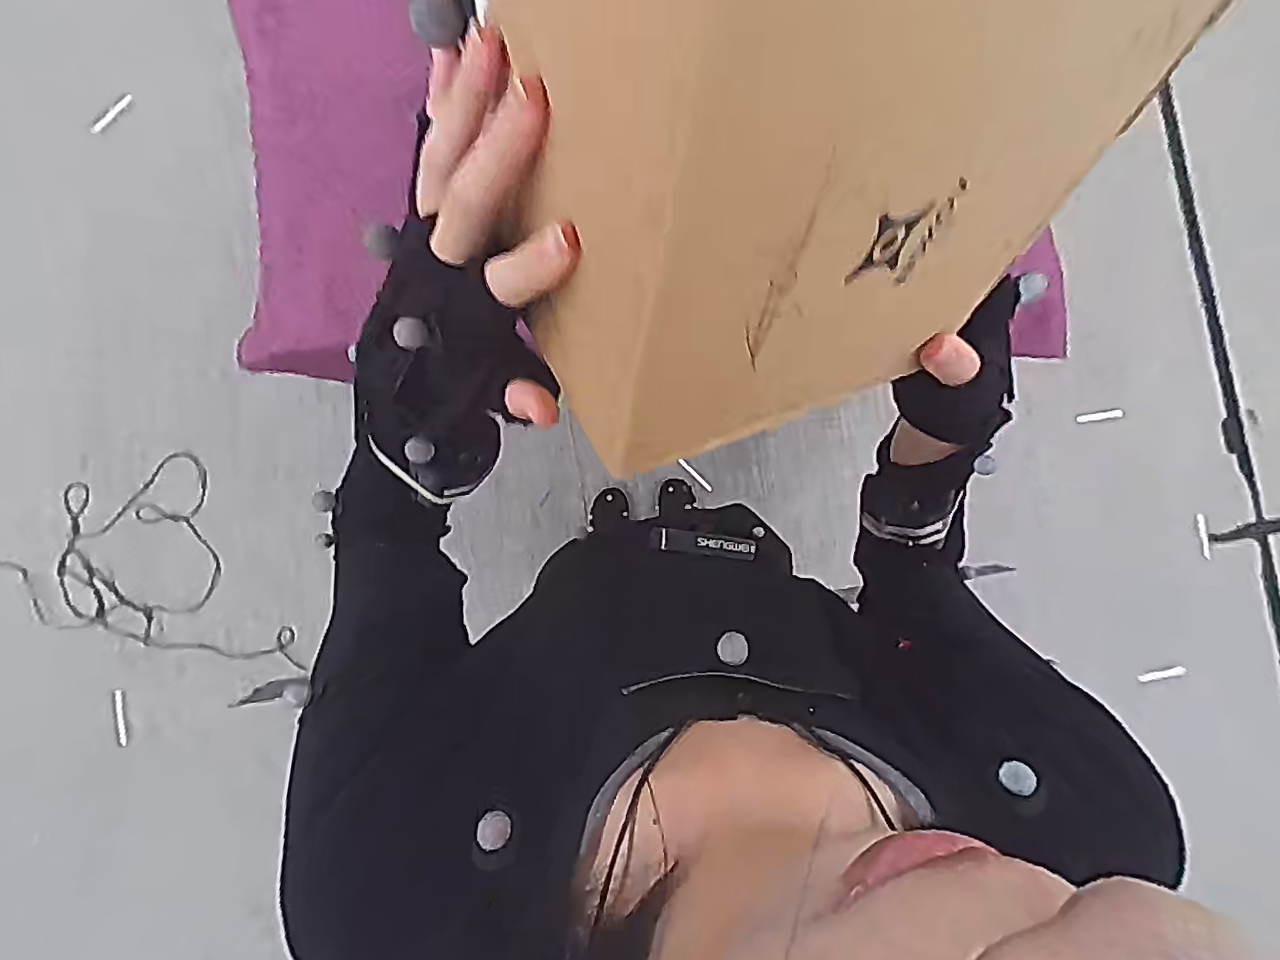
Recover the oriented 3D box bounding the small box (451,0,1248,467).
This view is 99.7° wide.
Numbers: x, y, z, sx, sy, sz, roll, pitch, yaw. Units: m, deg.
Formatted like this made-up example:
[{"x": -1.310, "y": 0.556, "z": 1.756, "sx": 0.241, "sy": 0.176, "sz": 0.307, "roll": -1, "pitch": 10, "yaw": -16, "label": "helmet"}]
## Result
[{"x": 0.043, "y": -0.137, "z": 0.195, "sx": 0.179, "sy": 0.168, "sz": 0.176, "roll": -20, "pitch": 62, "yaw": -20, "label": "small box"}]
